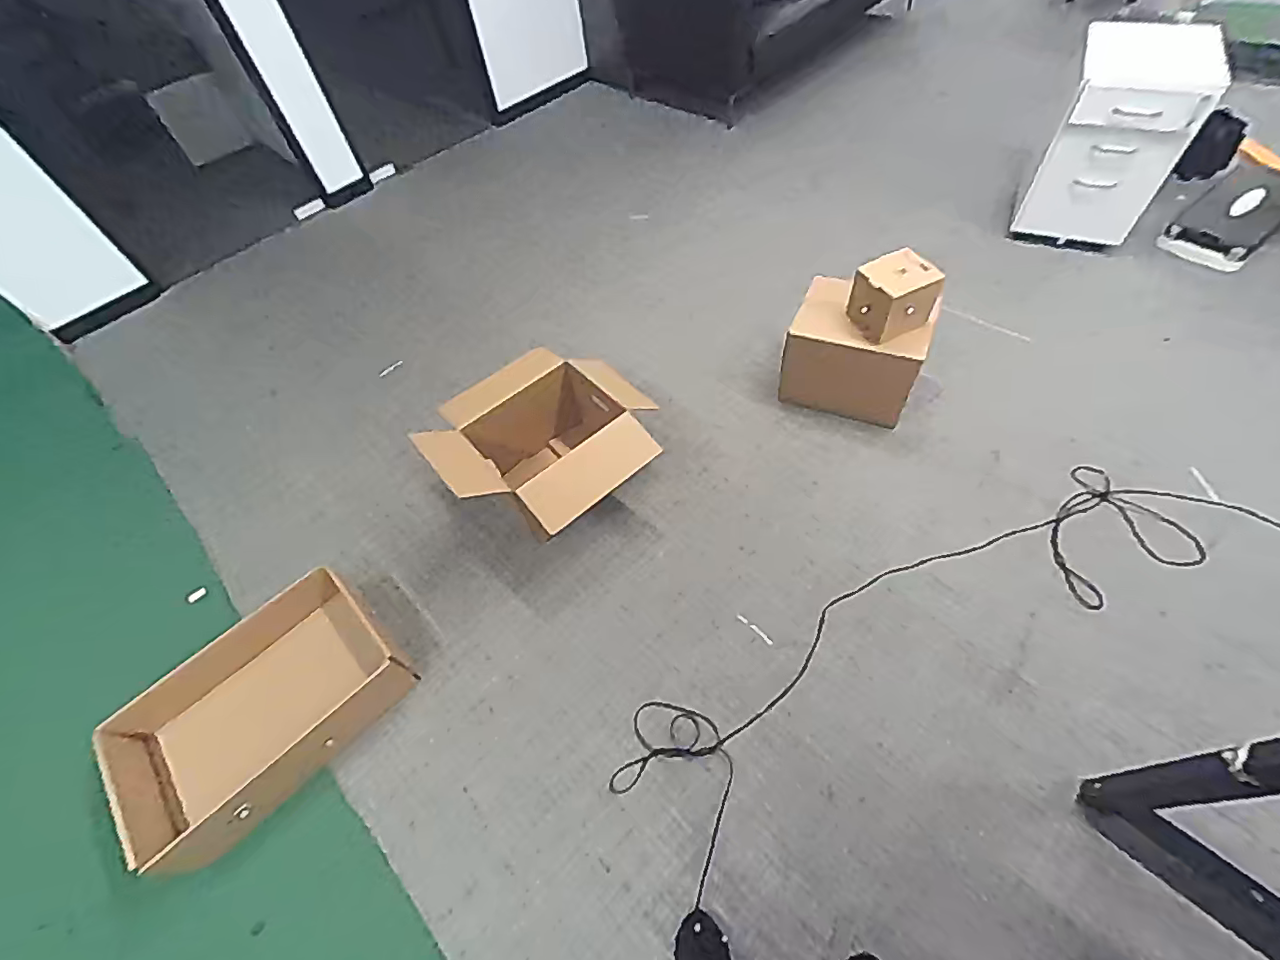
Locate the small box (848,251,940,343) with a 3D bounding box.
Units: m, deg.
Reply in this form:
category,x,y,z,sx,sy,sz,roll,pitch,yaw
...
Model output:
category,x,y,z,sx,sy,sz,roll,pitch,yaw
small box,0.742,-0.539,1.605,0.179,0.176,0.168,-24,56,-8
